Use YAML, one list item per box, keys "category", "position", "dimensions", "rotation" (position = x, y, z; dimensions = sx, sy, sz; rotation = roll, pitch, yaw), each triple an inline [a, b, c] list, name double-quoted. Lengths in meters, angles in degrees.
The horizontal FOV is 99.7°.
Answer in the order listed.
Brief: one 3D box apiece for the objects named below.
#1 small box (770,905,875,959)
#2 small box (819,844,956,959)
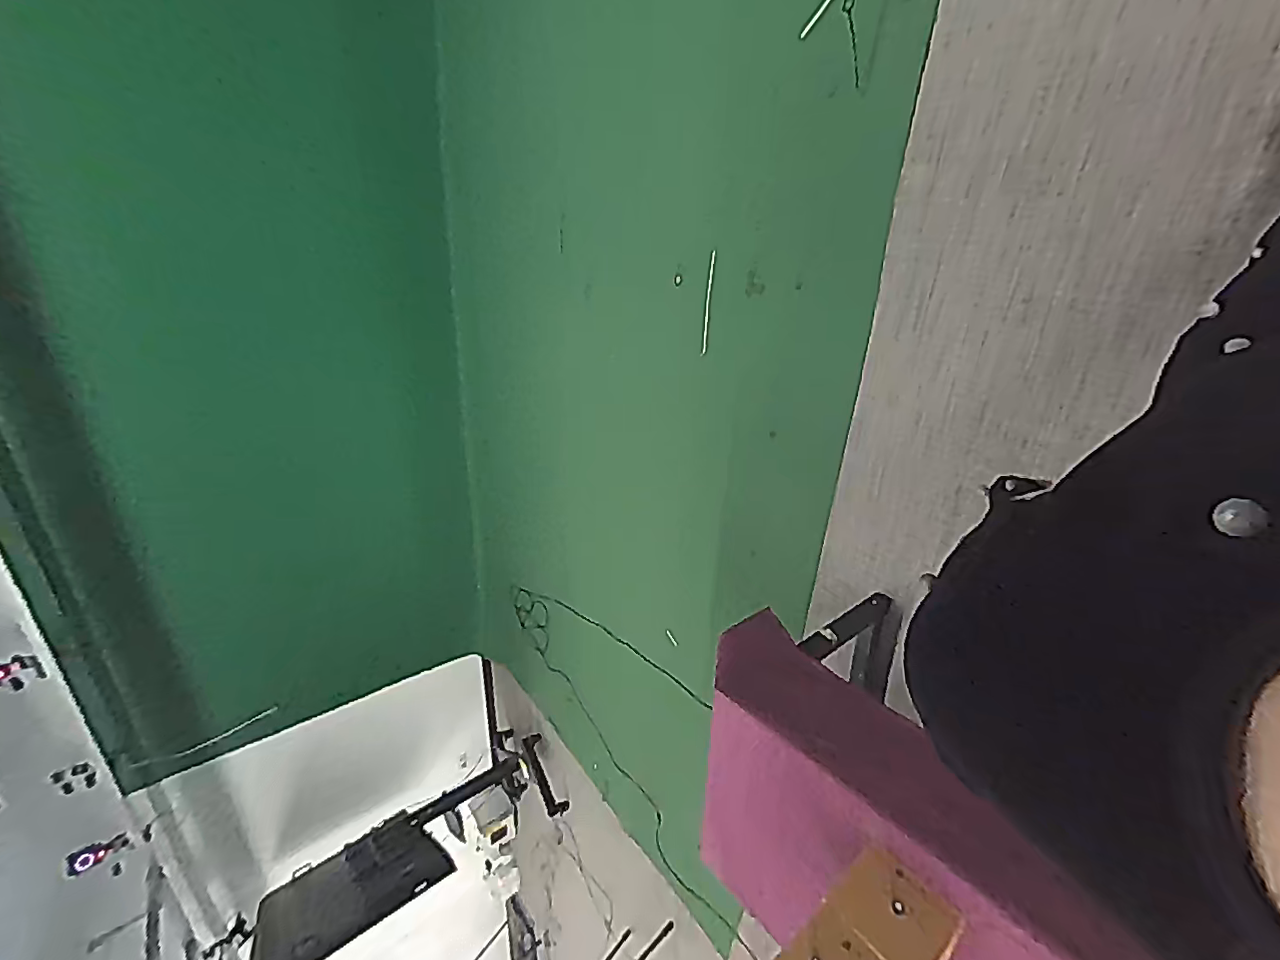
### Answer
- category: "small box"
  position: [0.288, 0.829, 0.845]
  dimensions: [0.168, 0.176, 0.179]
  rotation: [30, 126, 45]
- category: "small box"
  position: [0.417, 0.791, 0.938]
  dimensions: [0.168, 0.176, 0.179]
  rotation: [28, 124, 46]
